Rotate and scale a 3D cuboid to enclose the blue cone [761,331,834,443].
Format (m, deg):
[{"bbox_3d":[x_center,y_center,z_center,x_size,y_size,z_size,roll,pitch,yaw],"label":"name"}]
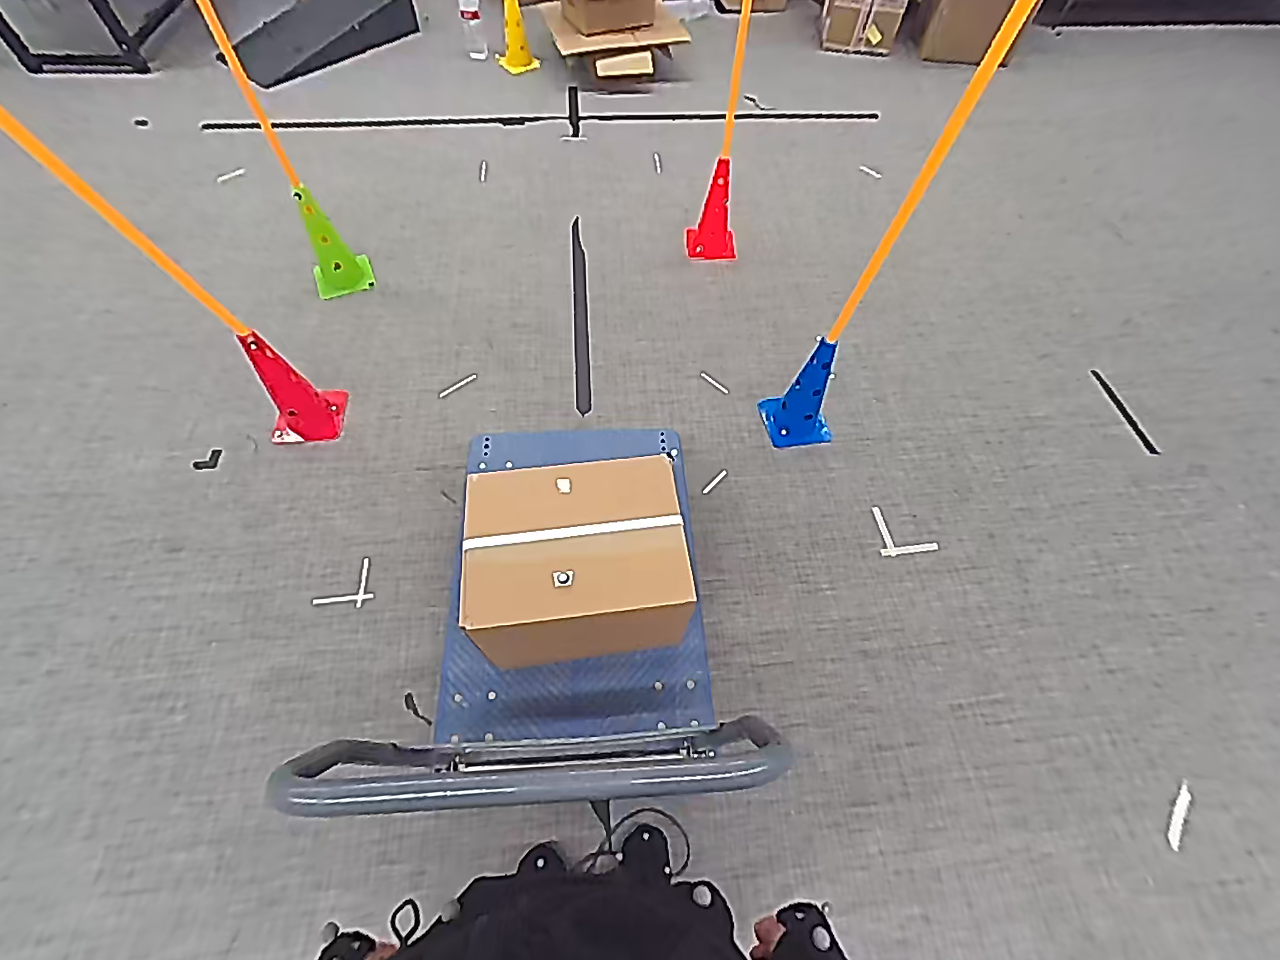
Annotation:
[{"bbox_3d":[0.512,-0.288,1.633,0.193,0.380,0.192,-7,58,-7],"label":"blue cone"}]

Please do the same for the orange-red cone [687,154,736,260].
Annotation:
[{"bbox_3d":[0.301,-1.059,2.071,0.199,0.360,0.198,3,60,-2],"label":"orange-red cone"}]
